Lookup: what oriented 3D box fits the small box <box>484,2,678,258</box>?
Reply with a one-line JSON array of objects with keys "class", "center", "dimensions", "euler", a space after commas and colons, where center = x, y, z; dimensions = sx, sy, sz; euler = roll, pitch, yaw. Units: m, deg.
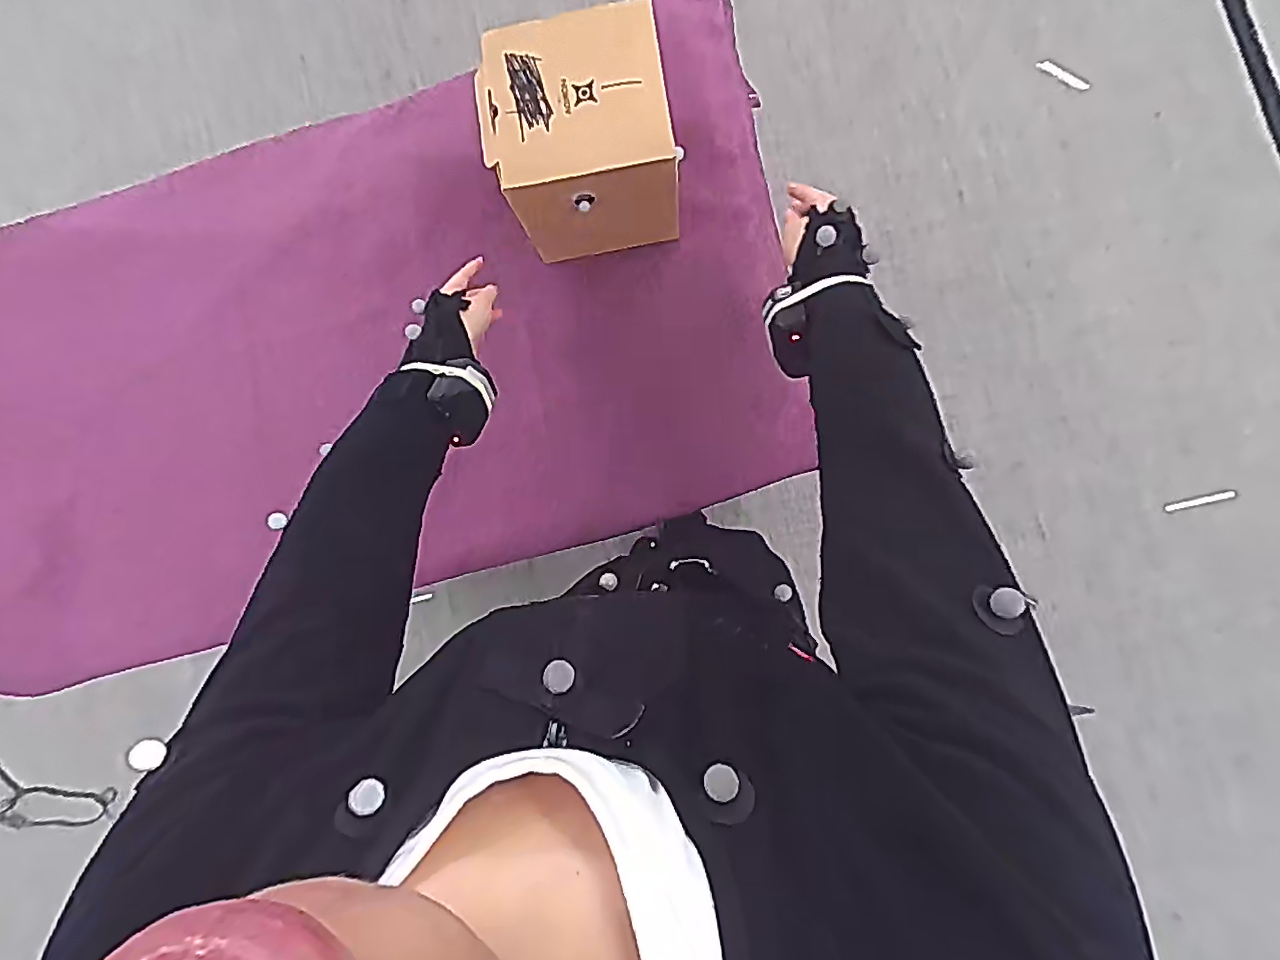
[{"class": "small box", "center": [-0.055, -0.374, 0.613], "dimensions": [0.179, 0.176, 0.168], "euler": [-9, 88, 4]}]
